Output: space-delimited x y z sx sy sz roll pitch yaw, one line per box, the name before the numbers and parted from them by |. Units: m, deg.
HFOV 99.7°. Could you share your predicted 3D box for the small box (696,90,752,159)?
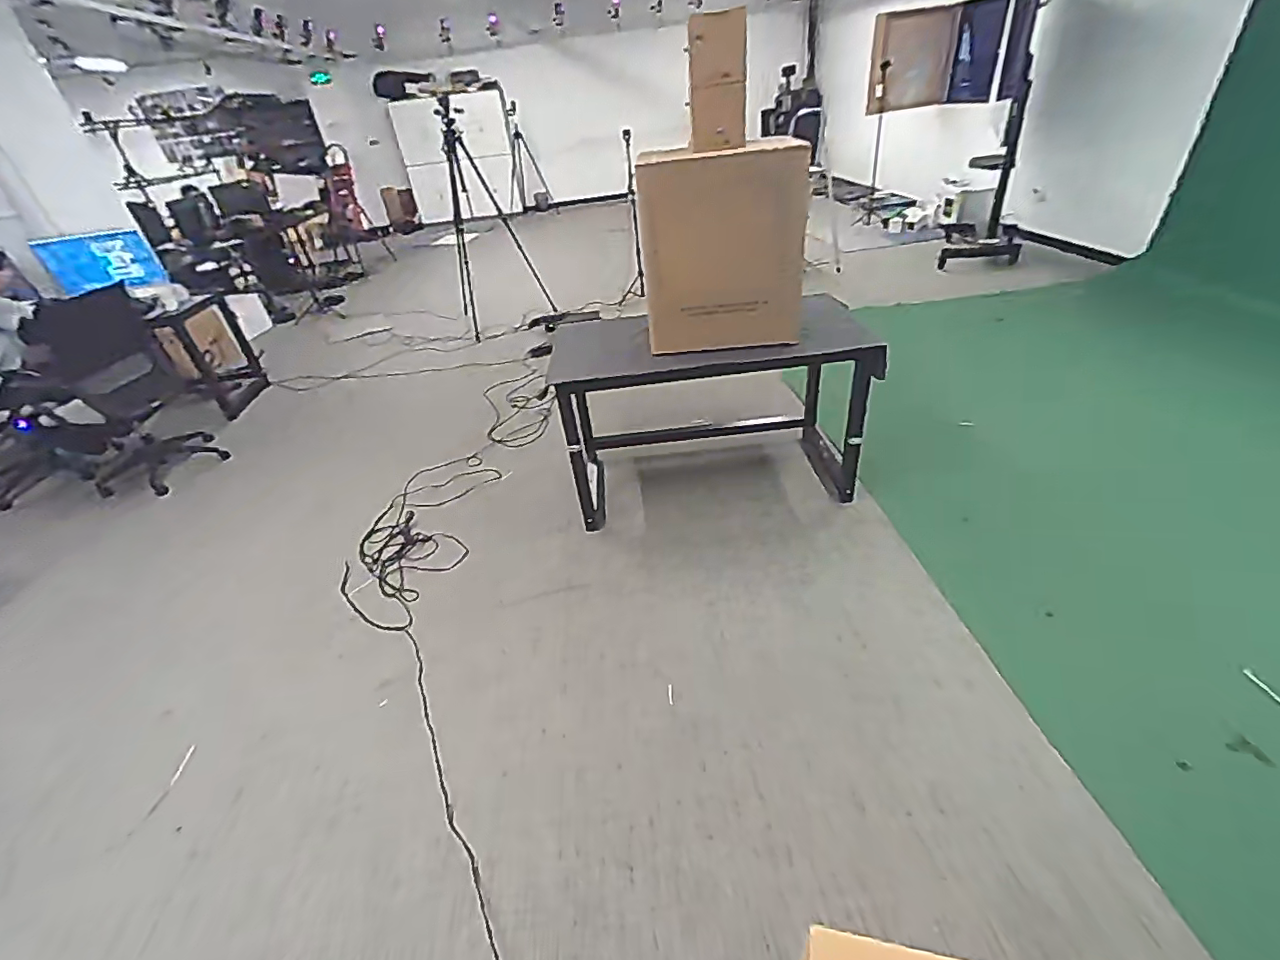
small box | 0.261 -1.124 1.712 0.168 0.176 0.179 -3 37 5
